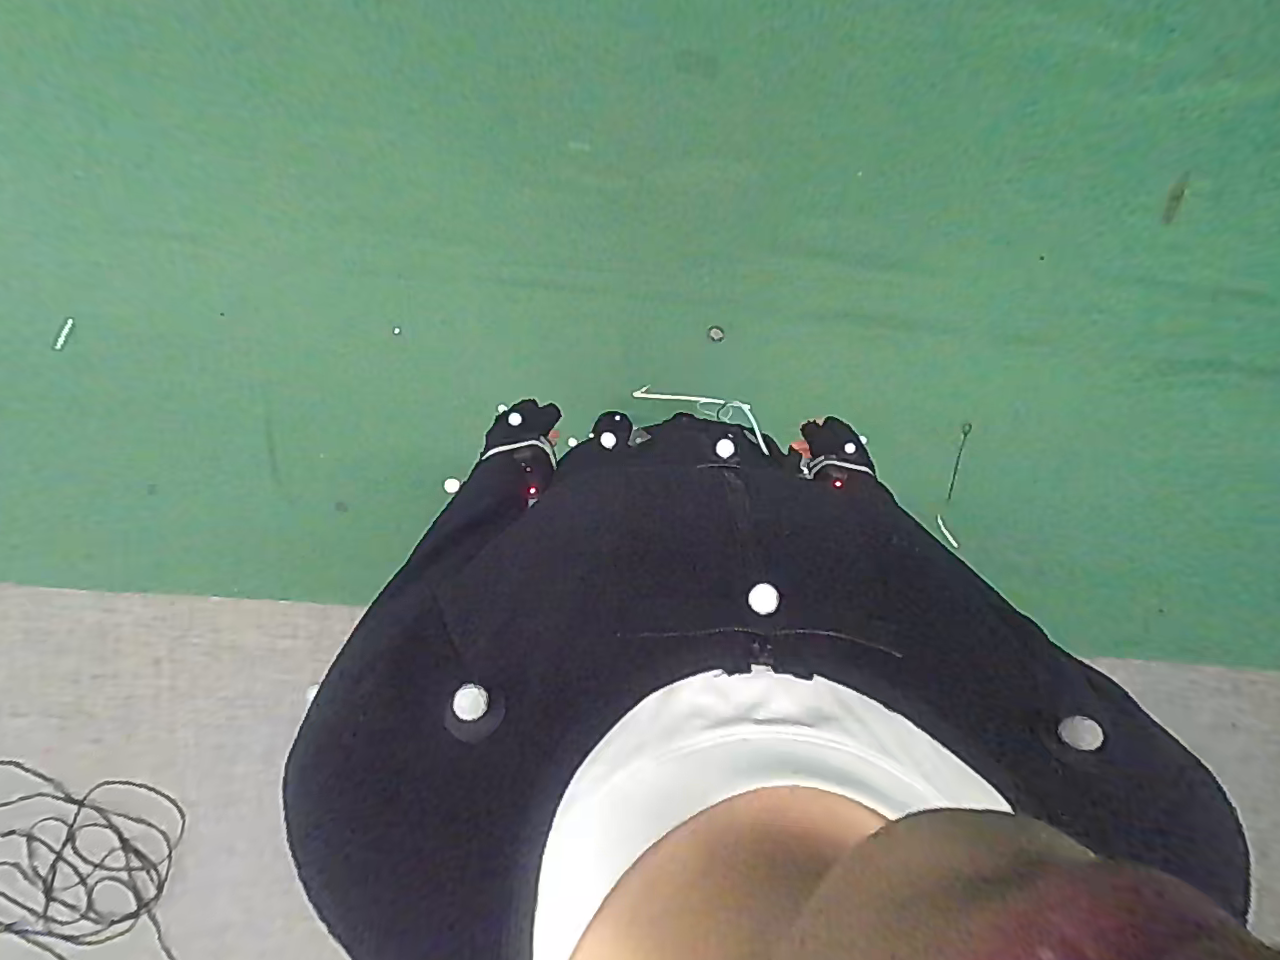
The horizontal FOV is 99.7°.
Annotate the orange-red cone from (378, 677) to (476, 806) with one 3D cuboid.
[{"bbox_3d":[-0.570,0.689,1.382,0.198,0.360,0.199,5,99,-2],"label":"orange-red cone"}]
